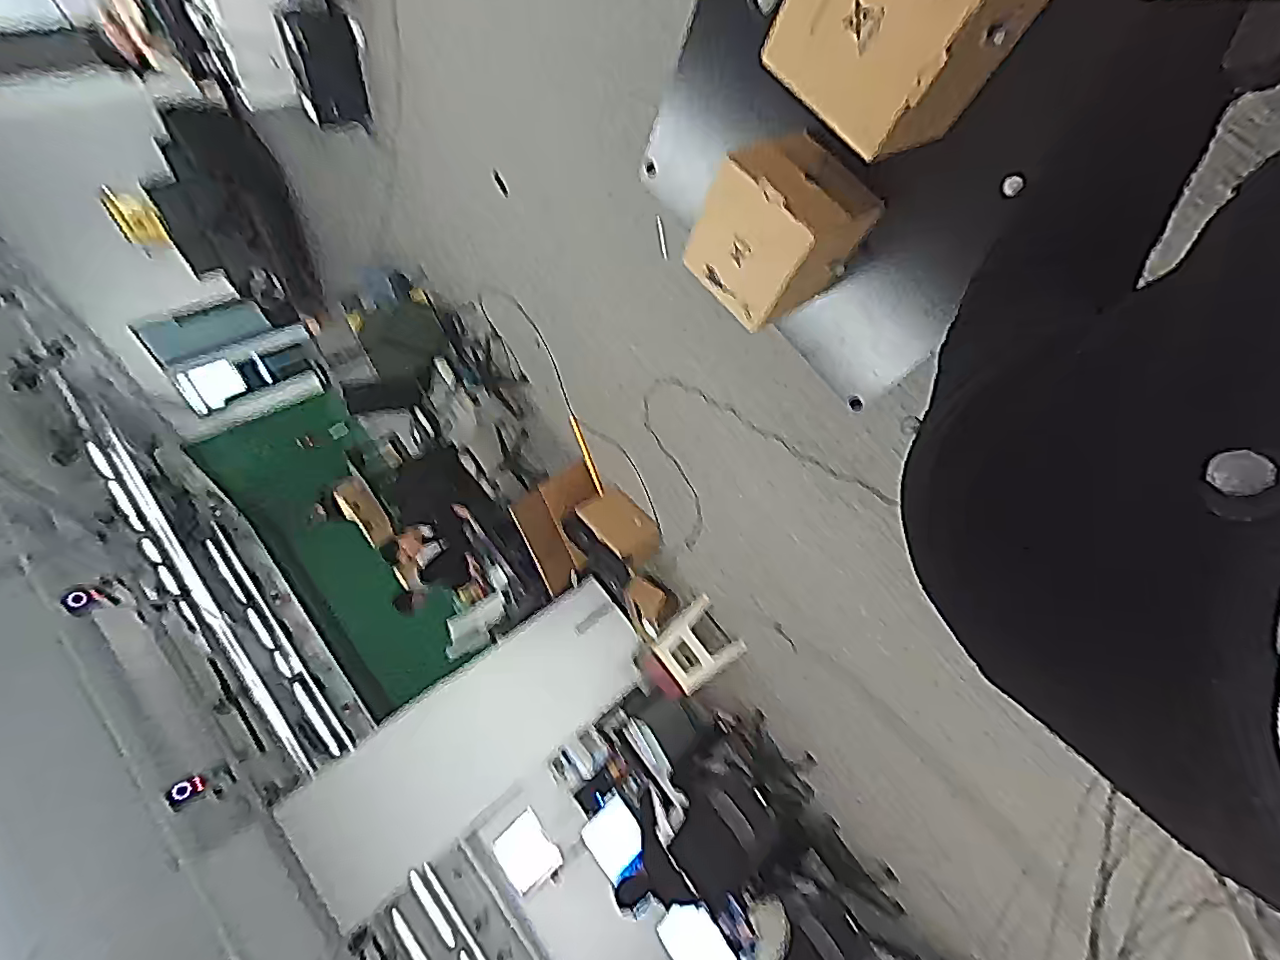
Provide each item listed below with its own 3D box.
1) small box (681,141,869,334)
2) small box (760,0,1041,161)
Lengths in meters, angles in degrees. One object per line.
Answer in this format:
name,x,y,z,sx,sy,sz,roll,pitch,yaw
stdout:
small box,0.194,-0.350,0.774,0.168,0.176,0.179,50,149,12
small box,0.266,-0.470,0.553,0.179,0.176,0.168,51,149,11
